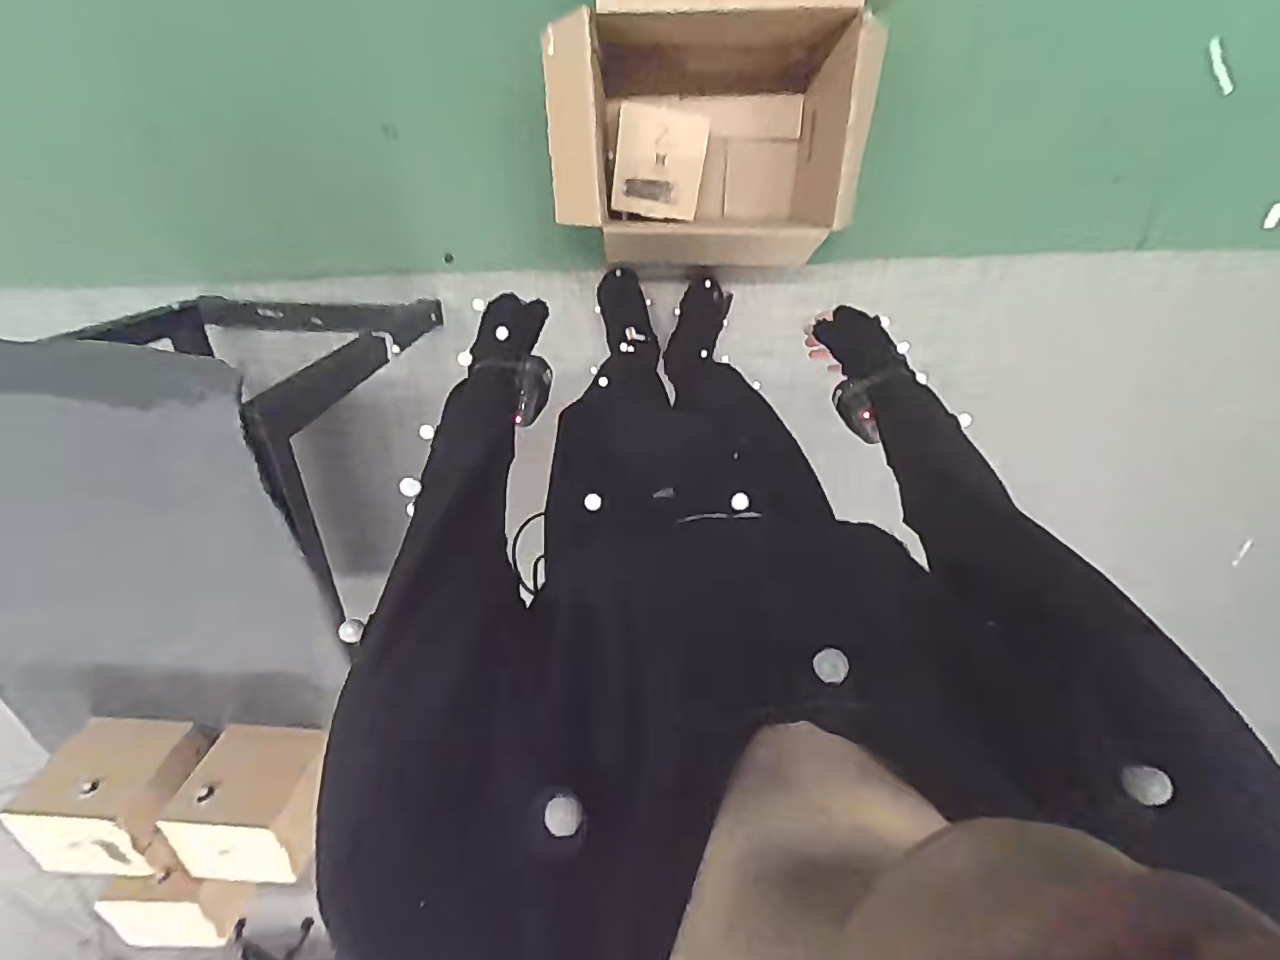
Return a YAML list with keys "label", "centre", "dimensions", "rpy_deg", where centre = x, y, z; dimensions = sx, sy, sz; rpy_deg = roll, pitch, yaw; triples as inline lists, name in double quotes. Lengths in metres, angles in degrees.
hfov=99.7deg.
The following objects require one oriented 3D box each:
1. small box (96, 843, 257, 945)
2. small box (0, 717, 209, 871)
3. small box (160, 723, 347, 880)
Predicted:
- label: "small box"
  centre: [-0.856, 0.753, 1.040]
  dimensions: [0.179, 0.176, 0.168]
  rpy_deg: [2, 119, -2]
- label: "small box"
  centre: [-0.864, 0.521, 0.908]
  dimensions: [0.179, 0.176, 0.168]
  rpy_deg: [4, 120, -2]
- label: "small box"
  centre: [-0.636, 0.537, 0.916]
  dimensions: [0.179, 0.176, 0.168]
  rpy_deg: [4, 120, -1]
